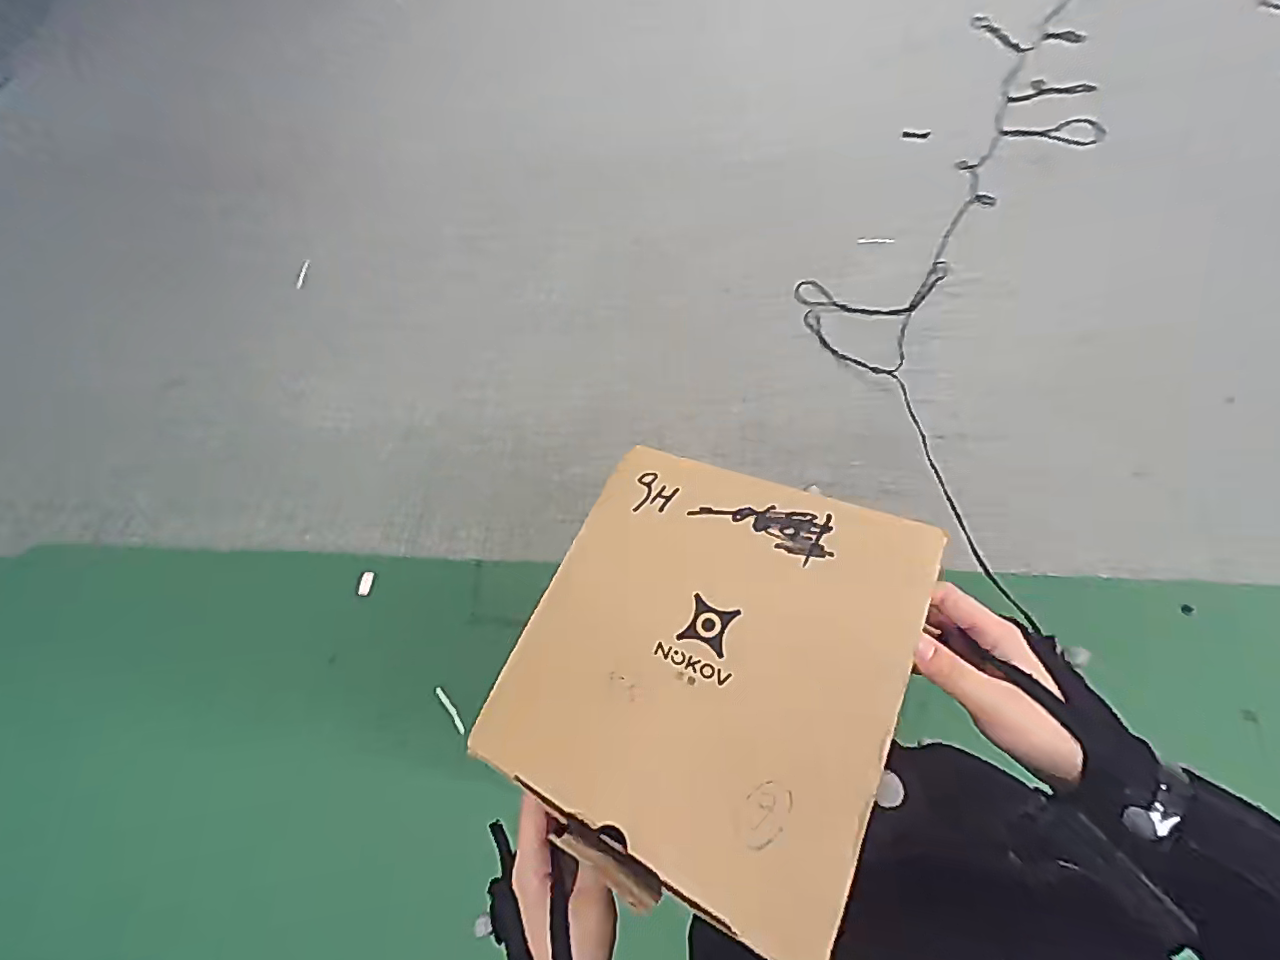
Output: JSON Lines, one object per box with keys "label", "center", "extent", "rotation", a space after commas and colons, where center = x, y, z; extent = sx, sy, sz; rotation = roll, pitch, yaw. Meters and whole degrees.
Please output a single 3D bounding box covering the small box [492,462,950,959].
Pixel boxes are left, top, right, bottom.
{"label": "small box", "center": [0.057, 0.121, 0.316], "extent": [0.168, 0.176, 0.179], "rotation": [18, 68, 27]}
